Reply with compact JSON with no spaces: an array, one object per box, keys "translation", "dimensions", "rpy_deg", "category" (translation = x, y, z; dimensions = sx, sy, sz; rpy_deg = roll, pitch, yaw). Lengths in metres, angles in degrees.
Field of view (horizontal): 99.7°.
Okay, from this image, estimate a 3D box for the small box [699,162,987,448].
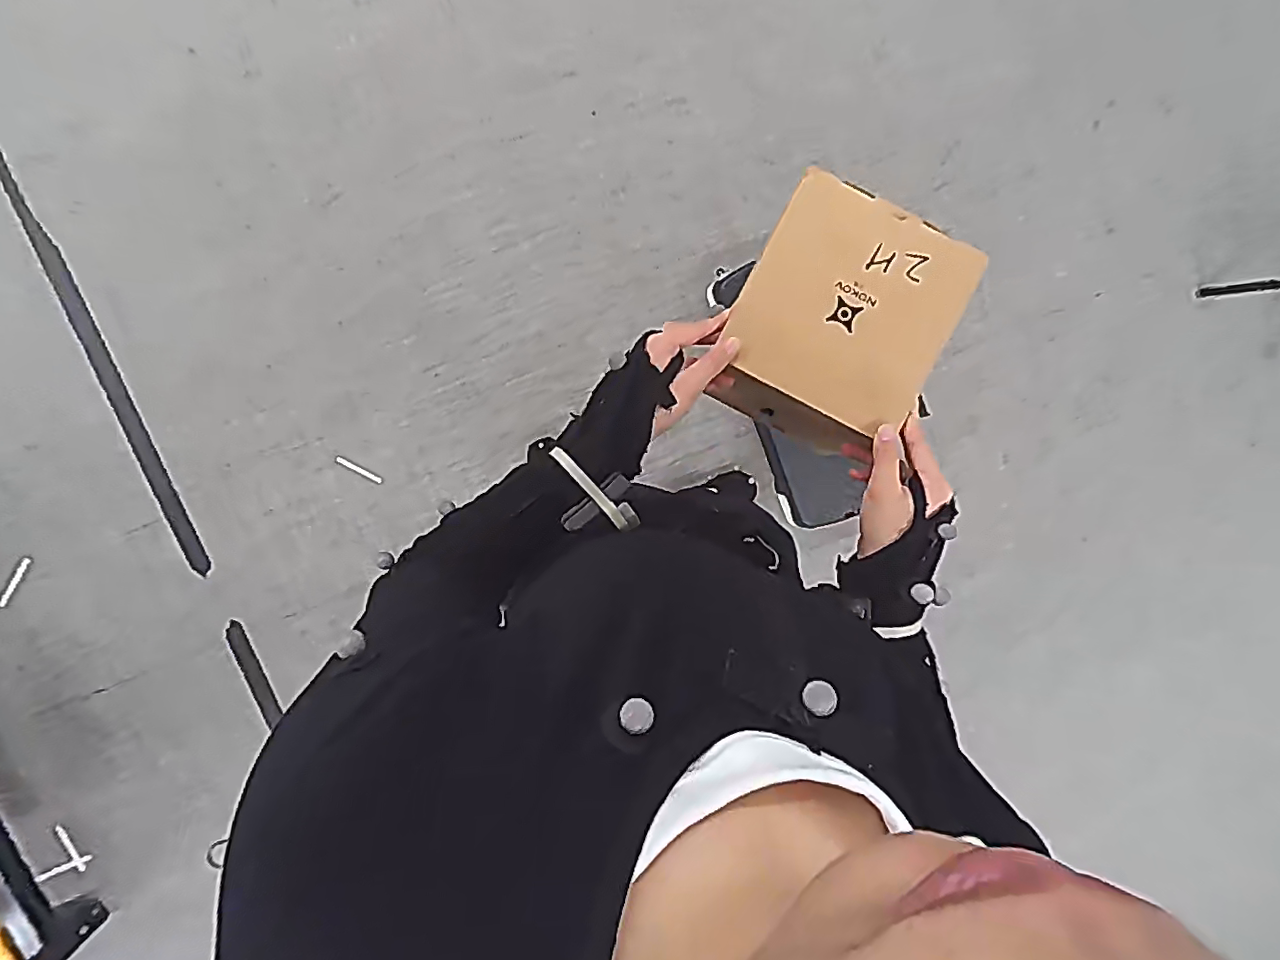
[{"translation":[0.166,-0.140,0.509],"dimensions":[0.168,0.176,0.179],"rpy_deg":[28,90,0],"category":"small box"}]
